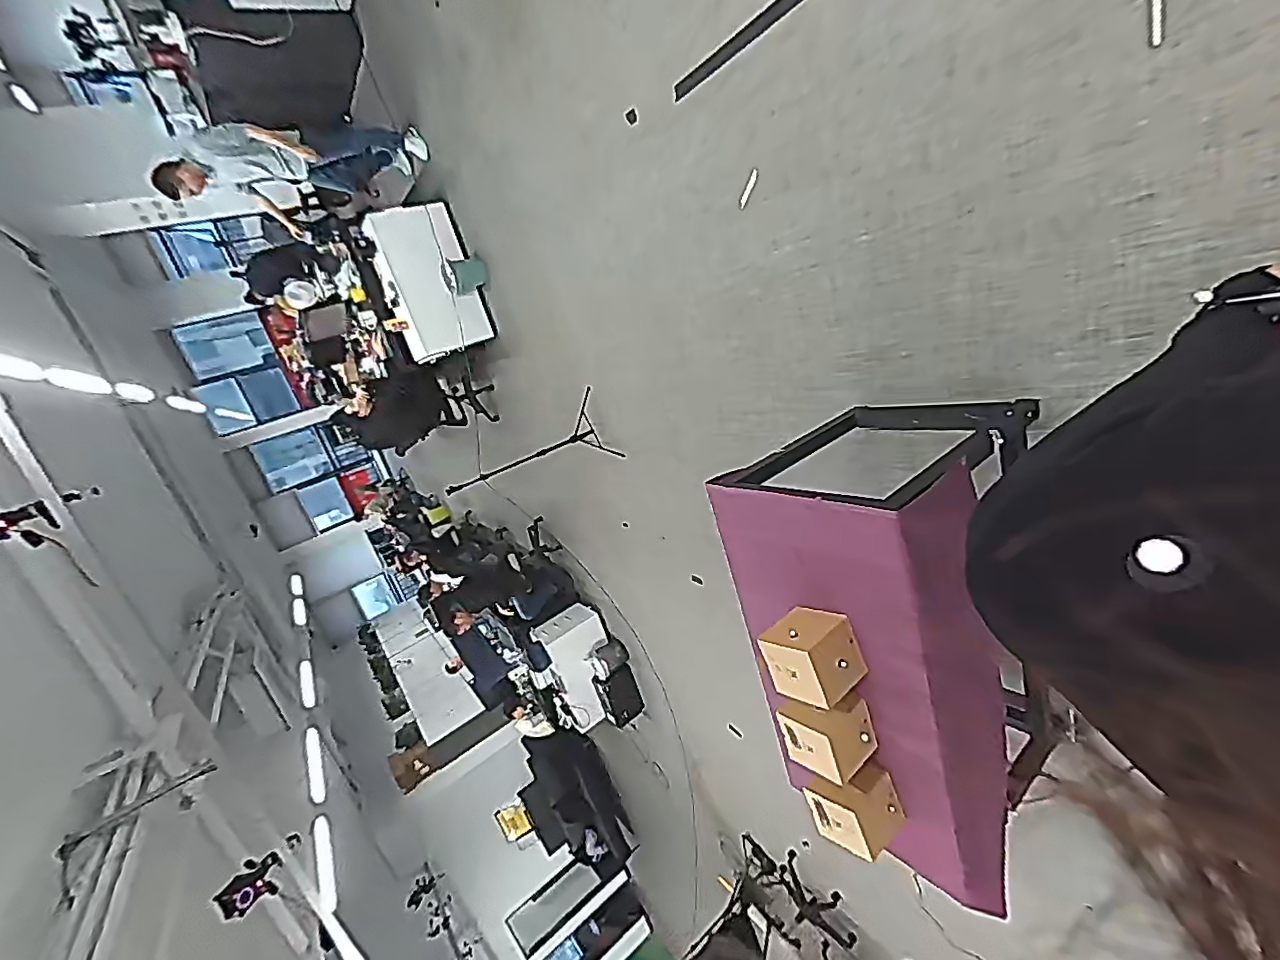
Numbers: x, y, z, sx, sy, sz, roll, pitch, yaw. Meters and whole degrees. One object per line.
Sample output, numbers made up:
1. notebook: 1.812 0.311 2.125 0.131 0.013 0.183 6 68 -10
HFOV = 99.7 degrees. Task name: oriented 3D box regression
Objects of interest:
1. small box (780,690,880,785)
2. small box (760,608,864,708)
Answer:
1. small box: 0.520 0.679 1.482 0.179 0.176 0.168 2 116 57
2. small box: 0.452 0.449 1.398 0.179 0.176 0.168 -7 108 60
